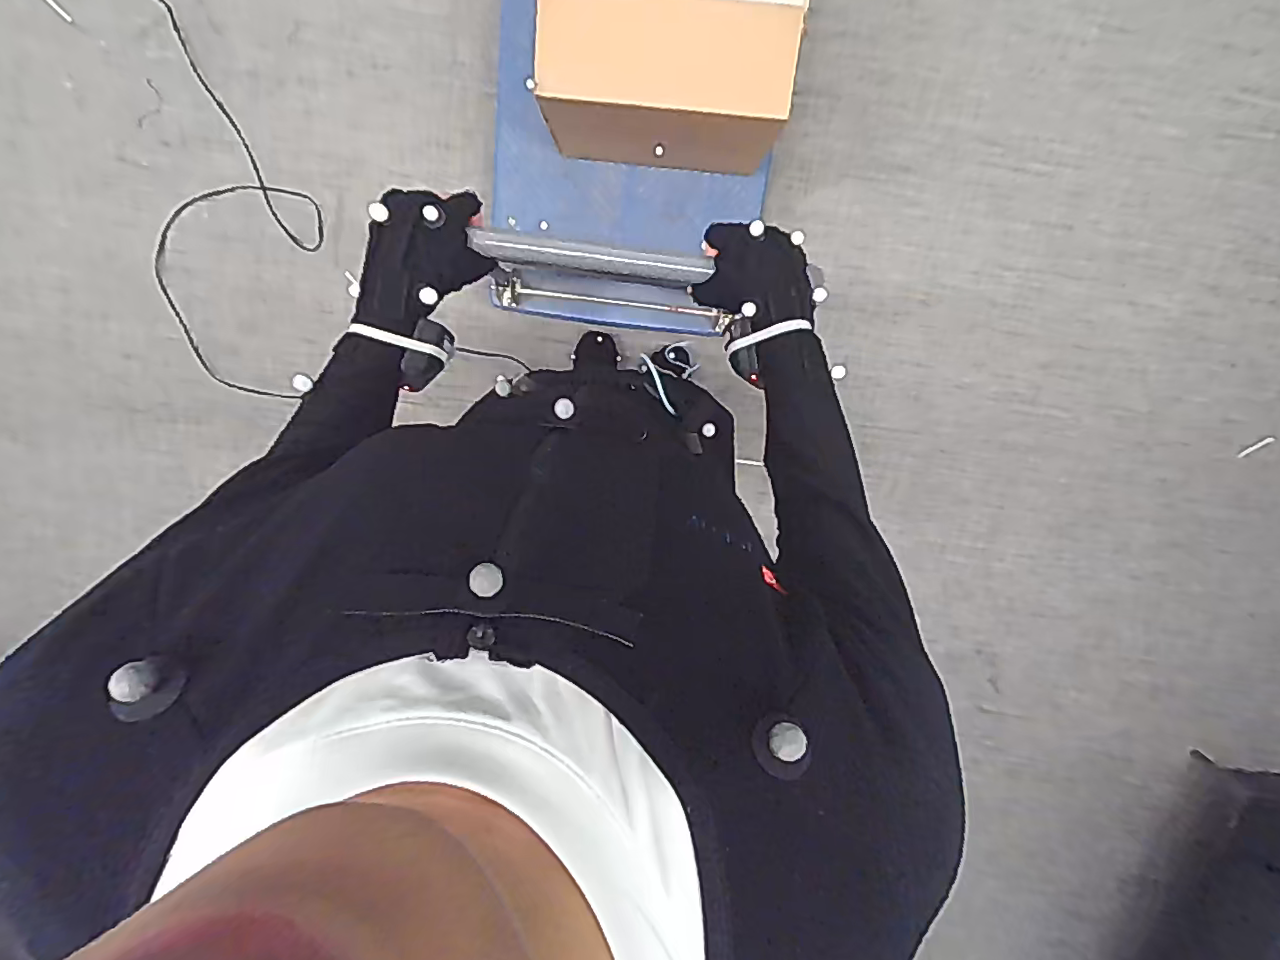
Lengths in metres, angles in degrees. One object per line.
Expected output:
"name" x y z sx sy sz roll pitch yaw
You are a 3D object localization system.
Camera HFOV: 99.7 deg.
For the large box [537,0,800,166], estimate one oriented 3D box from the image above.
"large box" 0.051 -0.780 0.961 0.408 0.320 0.320 6 105 0
